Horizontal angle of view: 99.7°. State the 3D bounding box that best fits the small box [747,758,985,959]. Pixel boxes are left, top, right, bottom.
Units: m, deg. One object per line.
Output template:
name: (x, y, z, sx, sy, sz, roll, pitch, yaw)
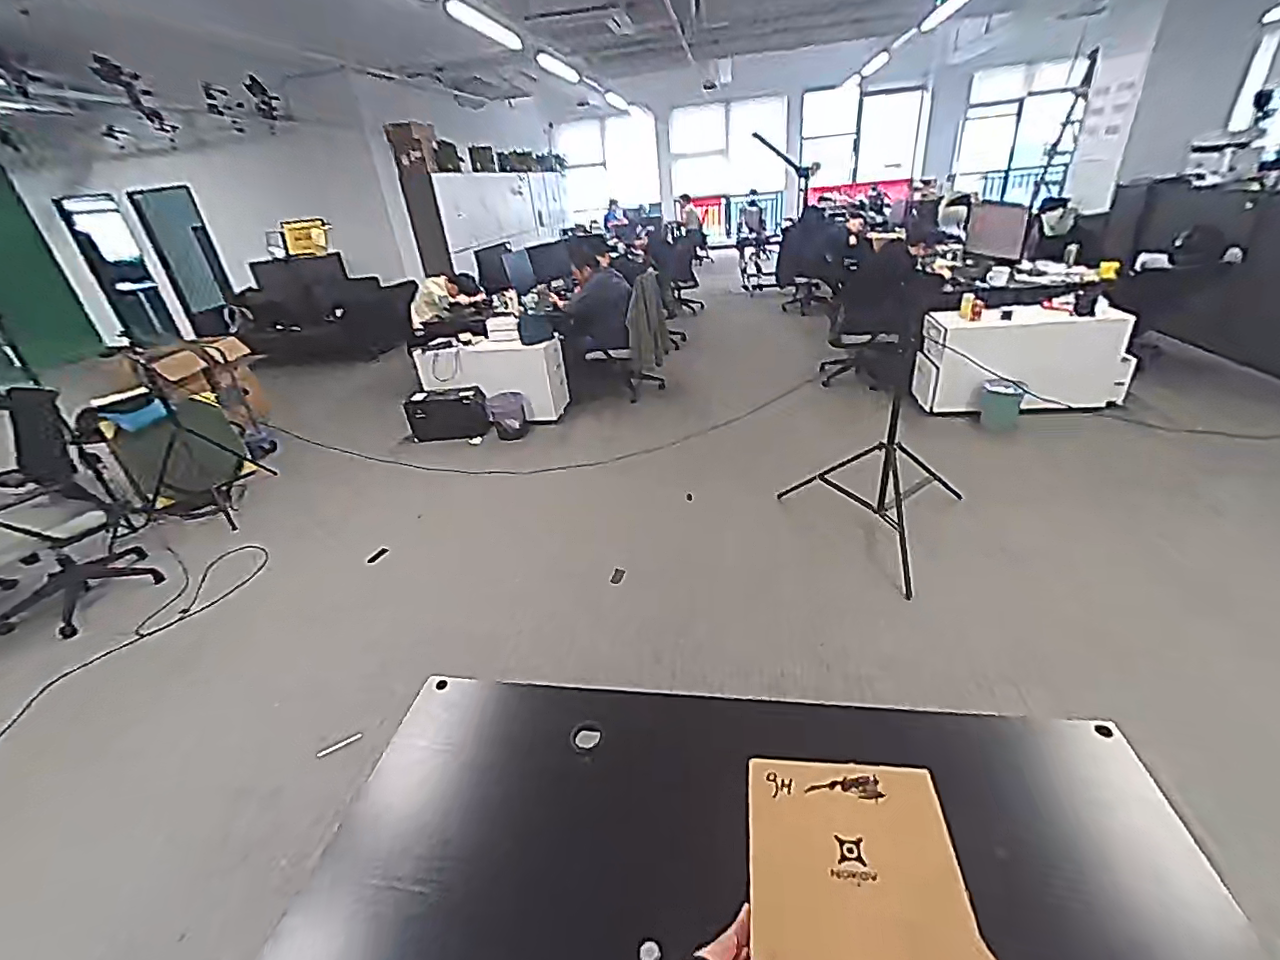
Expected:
small box: (0.183, 0.380, 0.476, 0.168, 0.176, 0.179, -3, 30, 12)
